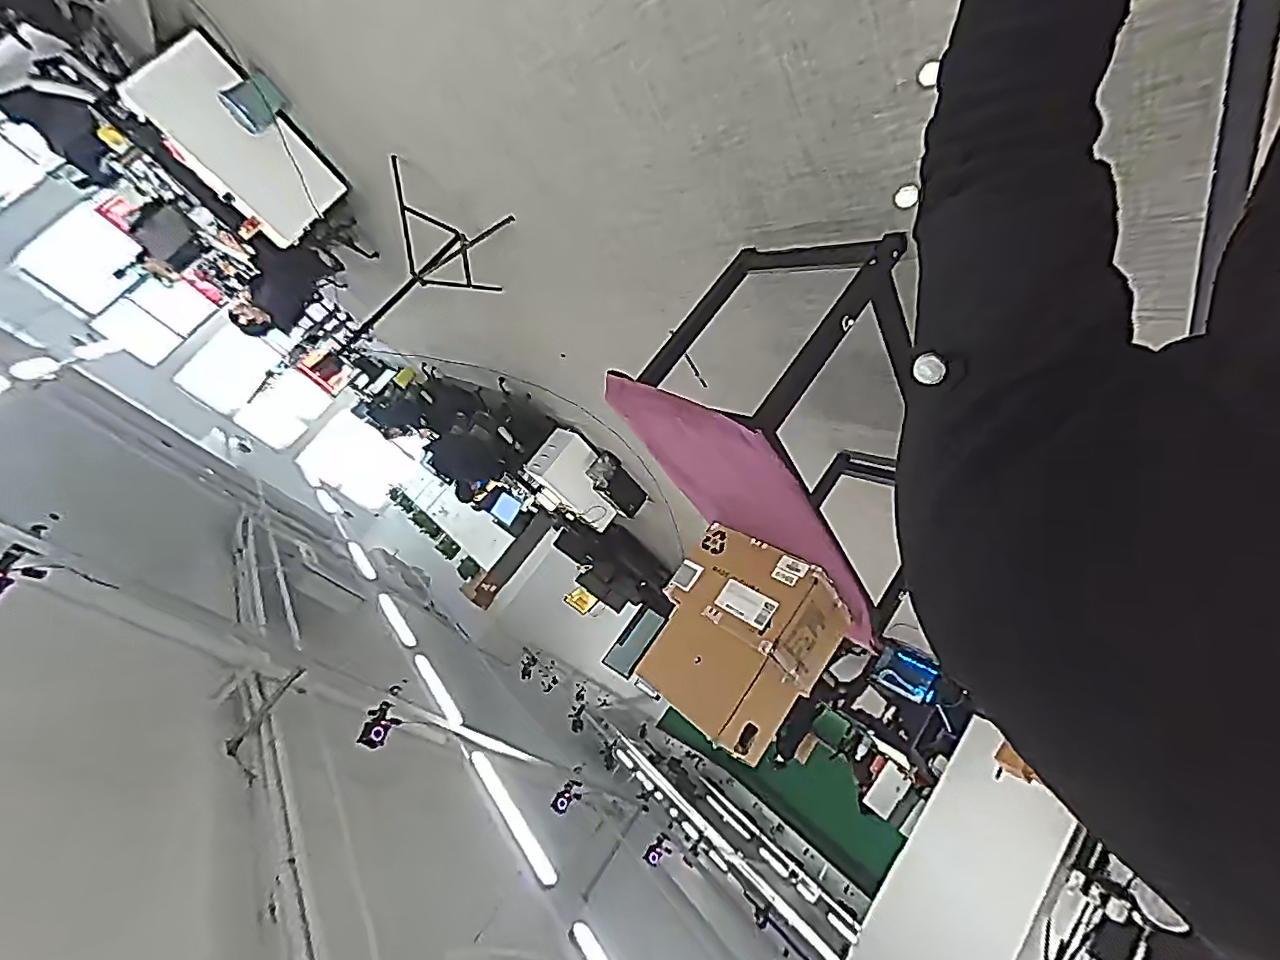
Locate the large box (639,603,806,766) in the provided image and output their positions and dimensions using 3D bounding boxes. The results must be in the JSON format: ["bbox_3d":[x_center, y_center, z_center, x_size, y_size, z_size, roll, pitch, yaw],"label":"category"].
[{"bbox_3d":[0.279,0.681,1.851,0.408,0.320,0.320,21,161,50],"label":"large box"}]
